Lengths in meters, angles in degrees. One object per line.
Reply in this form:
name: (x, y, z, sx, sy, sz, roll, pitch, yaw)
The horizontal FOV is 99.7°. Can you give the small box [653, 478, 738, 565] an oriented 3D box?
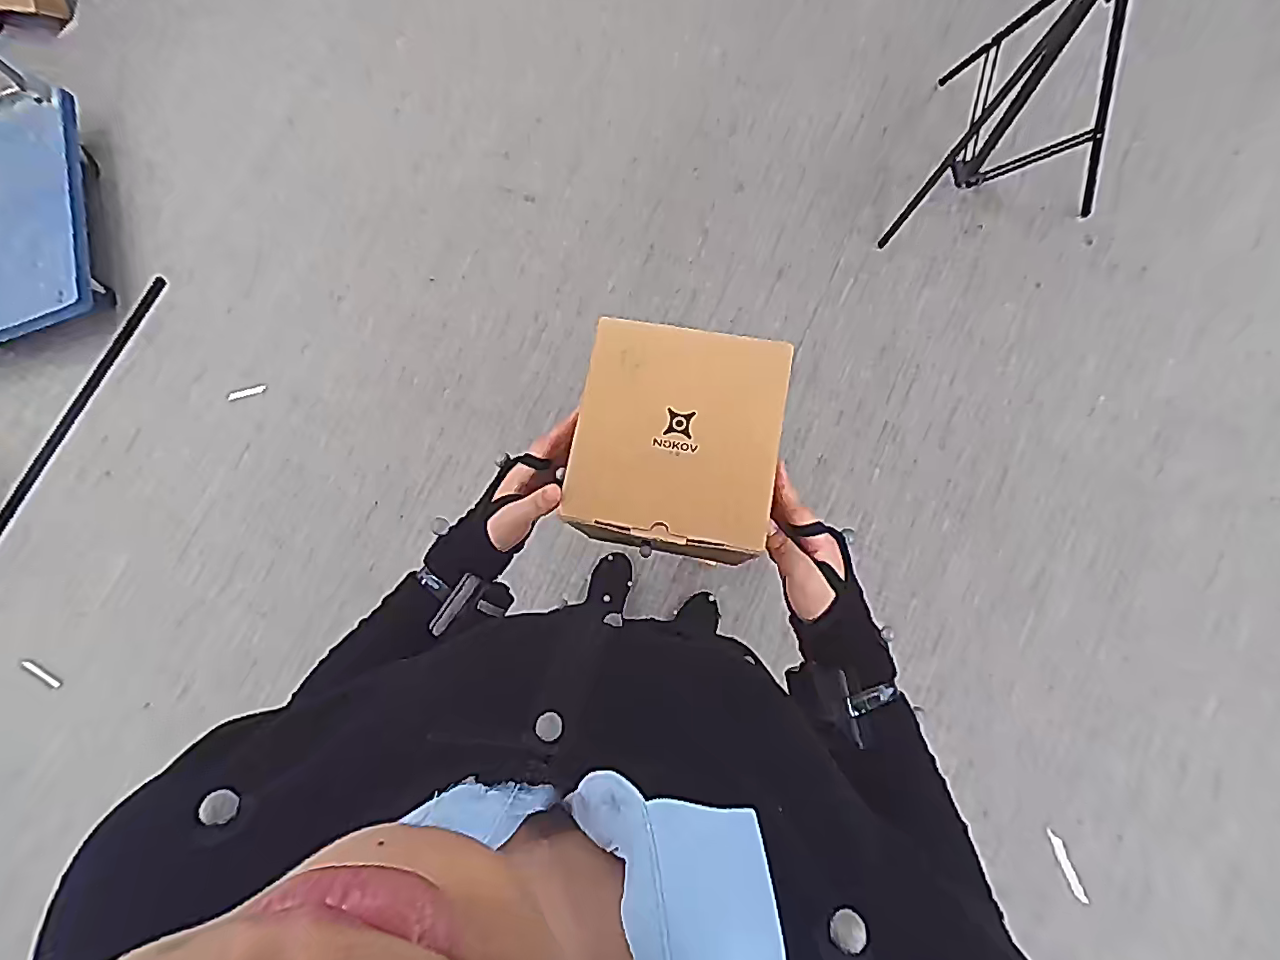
small box: (0.148, 0.117, 1.428, 0.168, 0.176, 0.179, 23, 82, 9)
